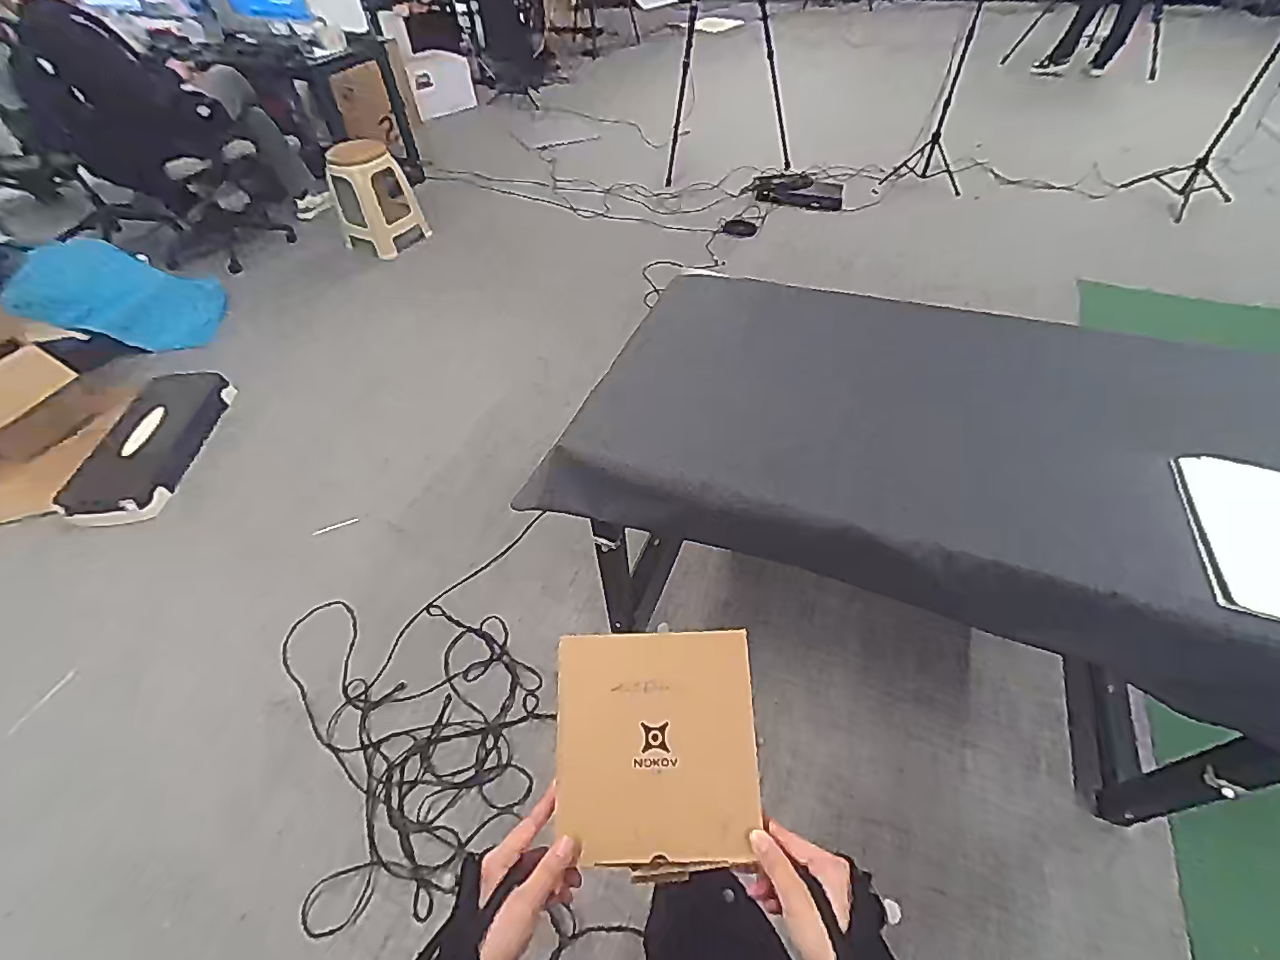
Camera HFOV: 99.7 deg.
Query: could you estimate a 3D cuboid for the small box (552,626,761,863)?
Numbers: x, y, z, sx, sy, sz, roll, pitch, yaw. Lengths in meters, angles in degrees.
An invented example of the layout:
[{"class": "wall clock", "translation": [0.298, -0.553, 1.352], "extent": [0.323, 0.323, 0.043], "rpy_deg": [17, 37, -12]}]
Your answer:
[{"class": "small box", "translation": [0.014, 0.237, 0.518], "extent": [0.168, 0.176, 0.179], "rpy_deg": [-2, 70, 0]}]
